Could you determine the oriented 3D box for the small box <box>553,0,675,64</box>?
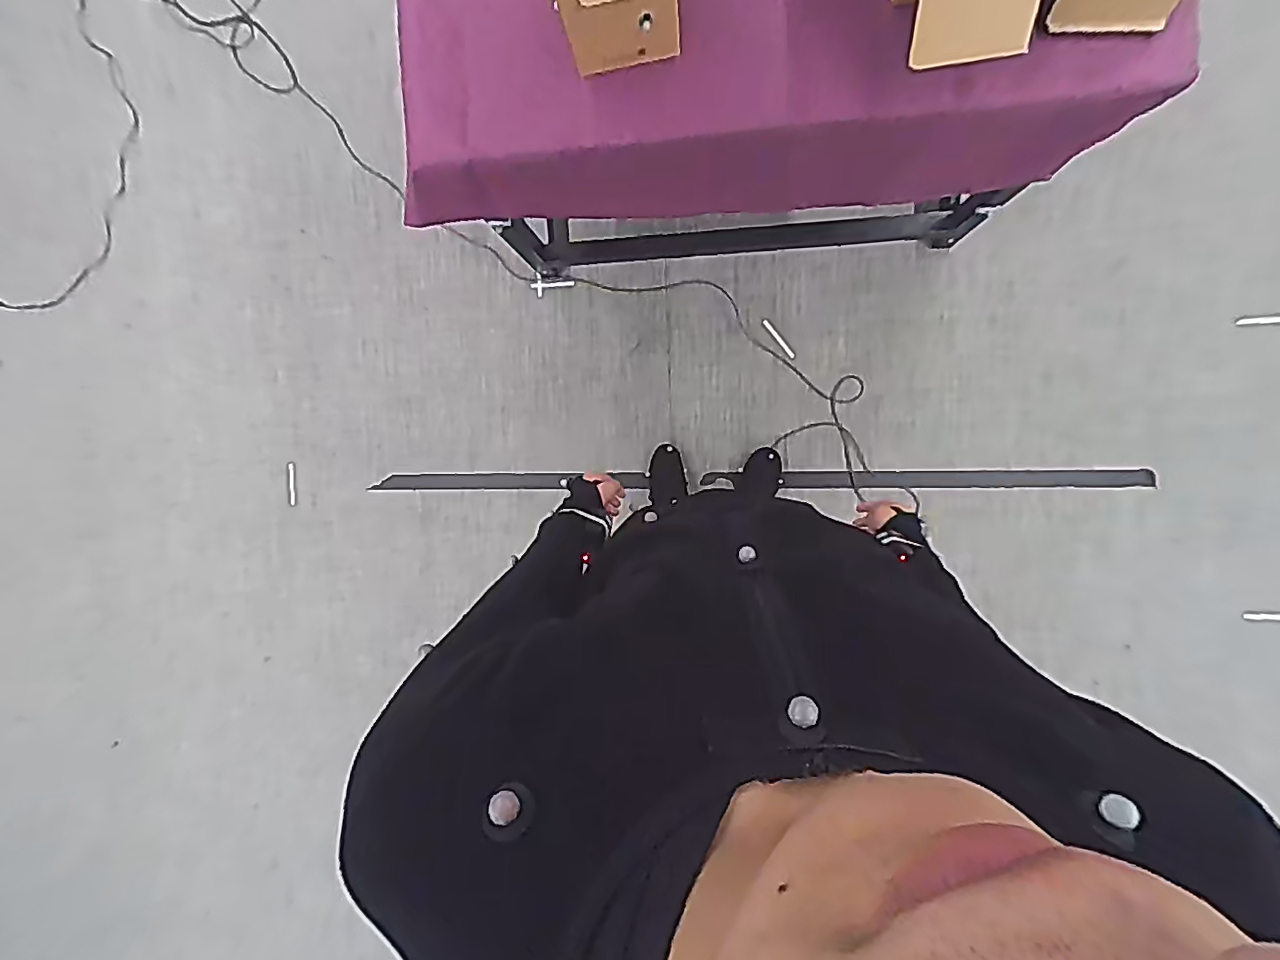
[{"bbox_3d":[-0.040,-0.754,0.793,0.168,0.176,0.179,-6,93,6],"label":"small box"}]
